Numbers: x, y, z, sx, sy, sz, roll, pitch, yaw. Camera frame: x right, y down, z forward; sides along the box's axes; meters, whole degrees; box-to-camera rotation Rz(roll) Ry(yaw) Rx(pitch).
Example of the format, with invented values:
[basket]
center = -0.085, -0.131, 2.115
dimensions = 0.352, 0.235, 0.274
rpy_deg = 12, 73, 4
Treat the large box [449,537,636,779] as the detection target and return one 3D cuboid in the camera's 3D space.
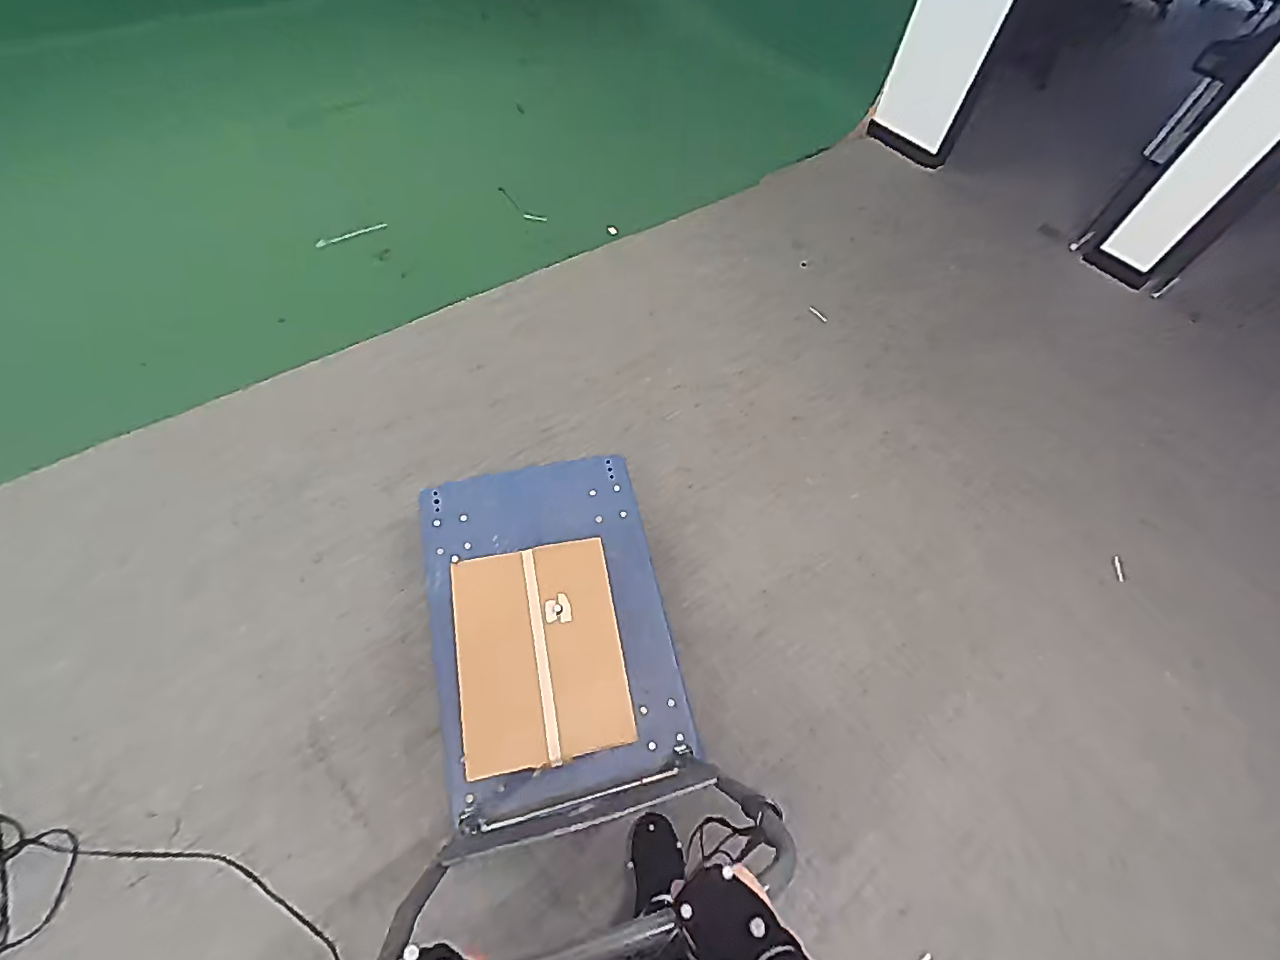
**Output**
[large box]
center = -0.207, 0.382, 1.174
dimensions = 0.320, 0.320, 0.408
rpy_deg = -8, 66, -10
